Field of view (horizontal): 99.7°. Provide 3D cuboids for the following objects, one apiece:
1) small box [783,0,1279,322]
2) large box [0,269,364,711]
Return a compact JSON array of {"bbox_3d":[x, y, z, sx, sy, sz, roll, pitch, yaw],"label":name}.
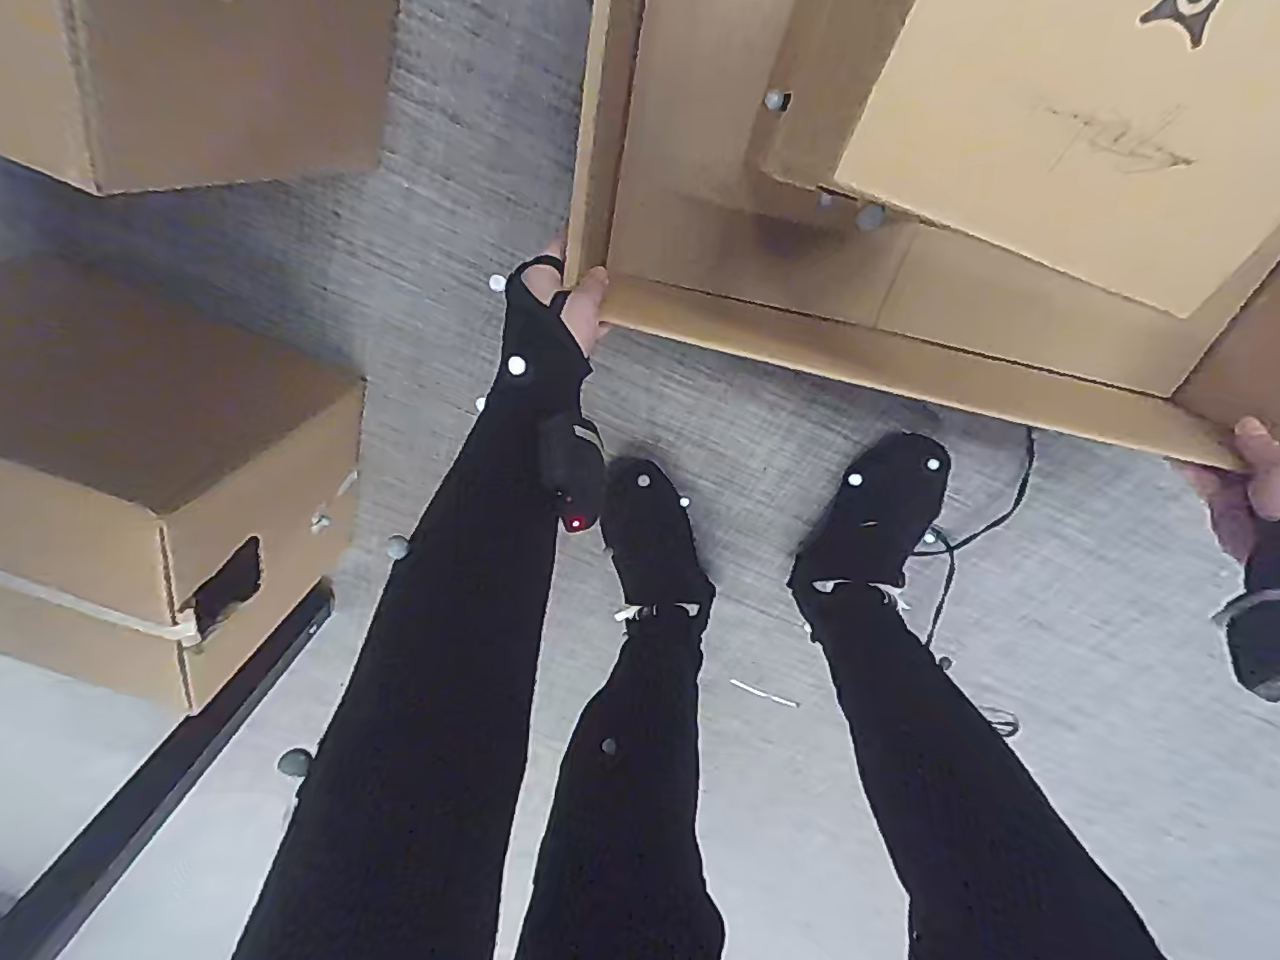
[{"bbox_3d":[0.180,-0.202,0.242,0.168,0.176,0.179,18,123,-7],"label":"small box"},{"bbox_3d":[-0.604,-0.003,0.639,0.408,0.320,0.320,22,120,-4],"label":"large box"}]
